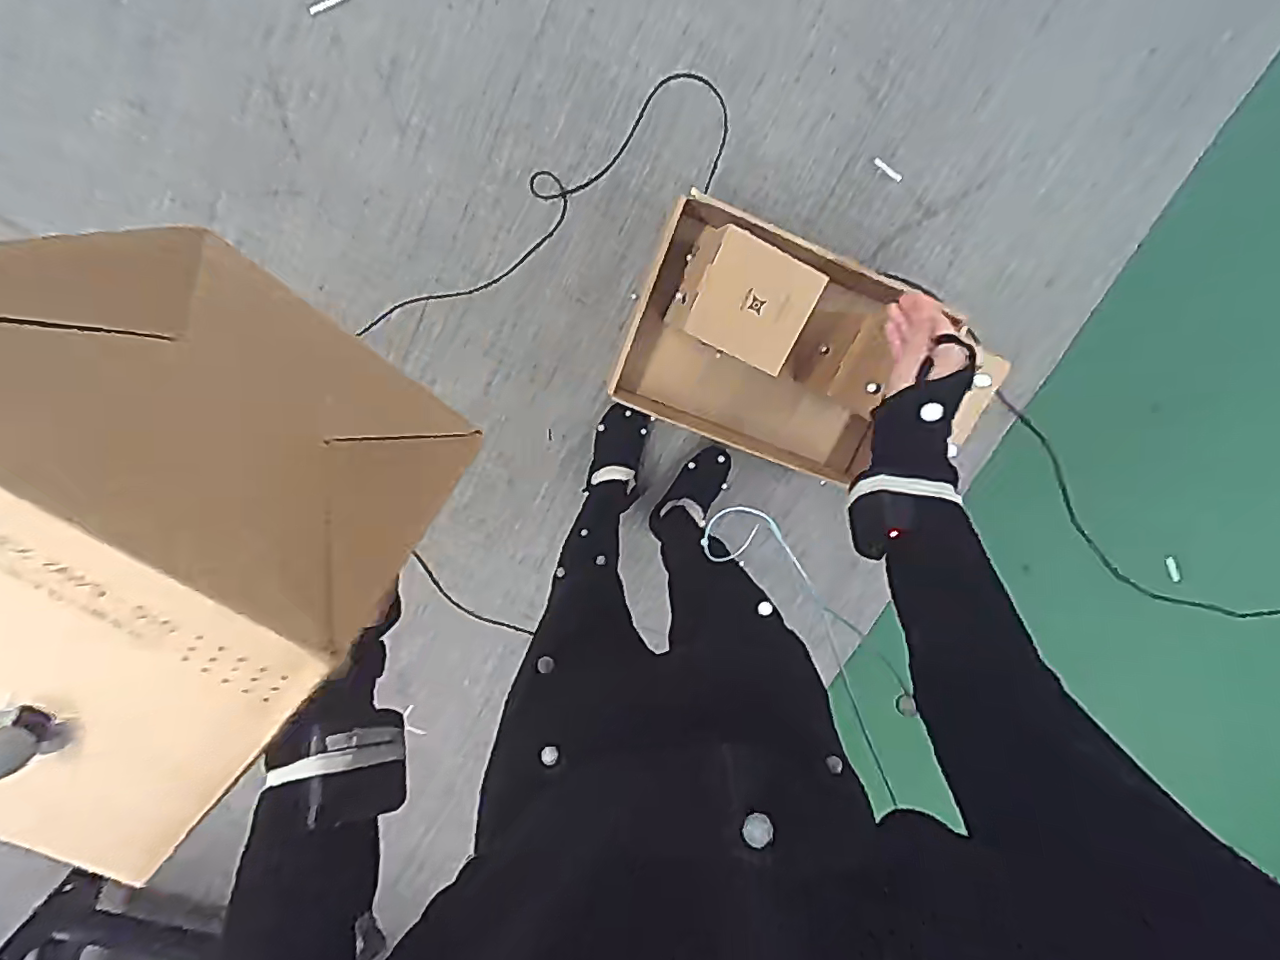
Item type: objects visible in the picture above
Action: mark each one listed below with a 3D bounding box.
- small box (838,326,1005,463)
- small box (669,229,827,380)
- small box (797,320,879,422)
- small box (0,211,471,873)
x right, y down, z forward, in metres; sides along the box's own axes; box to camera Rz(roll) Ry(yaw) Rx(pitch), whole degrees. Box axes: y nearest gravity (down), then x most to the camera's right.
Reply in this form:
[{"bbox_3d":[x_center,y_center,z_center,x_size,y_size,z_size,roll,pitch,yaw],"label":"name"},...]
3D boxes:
[{"bbox_3d":[0.482,-0.158,0.962,0.168,0.176,0.179,23,104,-13],"label":"small box"},{"bbox_3d":[0.164,-0.285,0.893,0.179,0.176,0.168,24,105,-13],"label":"small box"},{"bbox_3d":[0.455,-0.215,1.116,0.179,0.176,0.168,24,104,-11],"label":"small box"},{"bbox_3d":[-0.203,0.013,0.230,0.168,0.179,0.176,38,113,-17],"label":"small box"}]
